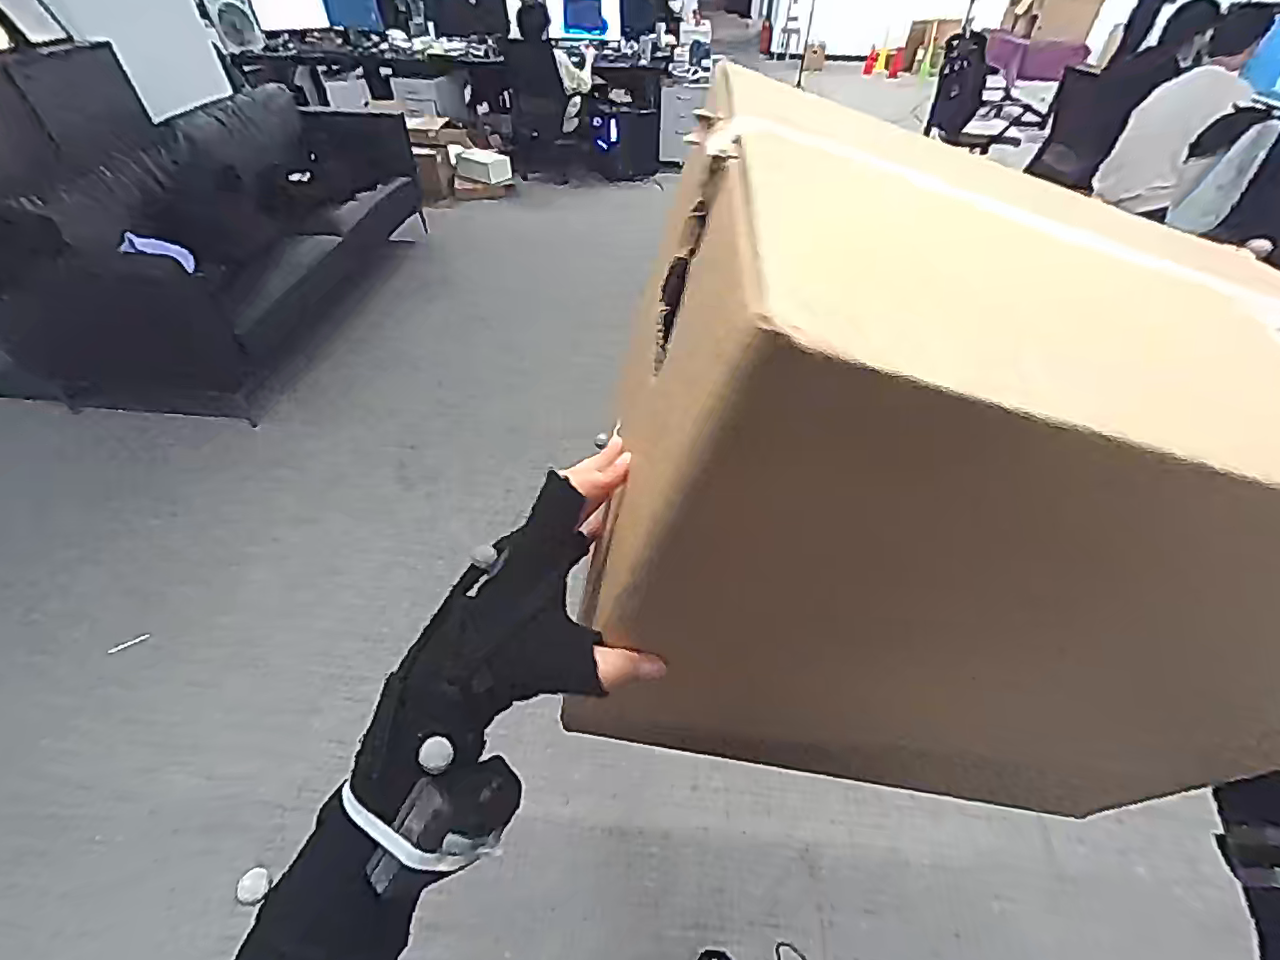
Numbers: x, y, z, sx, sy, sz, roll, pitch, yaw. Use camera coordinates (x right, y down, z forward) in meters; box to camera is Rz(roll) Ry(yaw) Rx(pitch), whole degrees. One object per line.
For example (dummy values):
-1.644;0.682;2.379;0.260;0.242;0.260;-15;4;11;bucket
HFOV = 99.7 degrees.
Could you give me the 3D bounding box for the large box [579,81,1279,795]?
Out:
0.195;-0.004;0.384;0.408;0.320;0.320;14;48;-9;large box
